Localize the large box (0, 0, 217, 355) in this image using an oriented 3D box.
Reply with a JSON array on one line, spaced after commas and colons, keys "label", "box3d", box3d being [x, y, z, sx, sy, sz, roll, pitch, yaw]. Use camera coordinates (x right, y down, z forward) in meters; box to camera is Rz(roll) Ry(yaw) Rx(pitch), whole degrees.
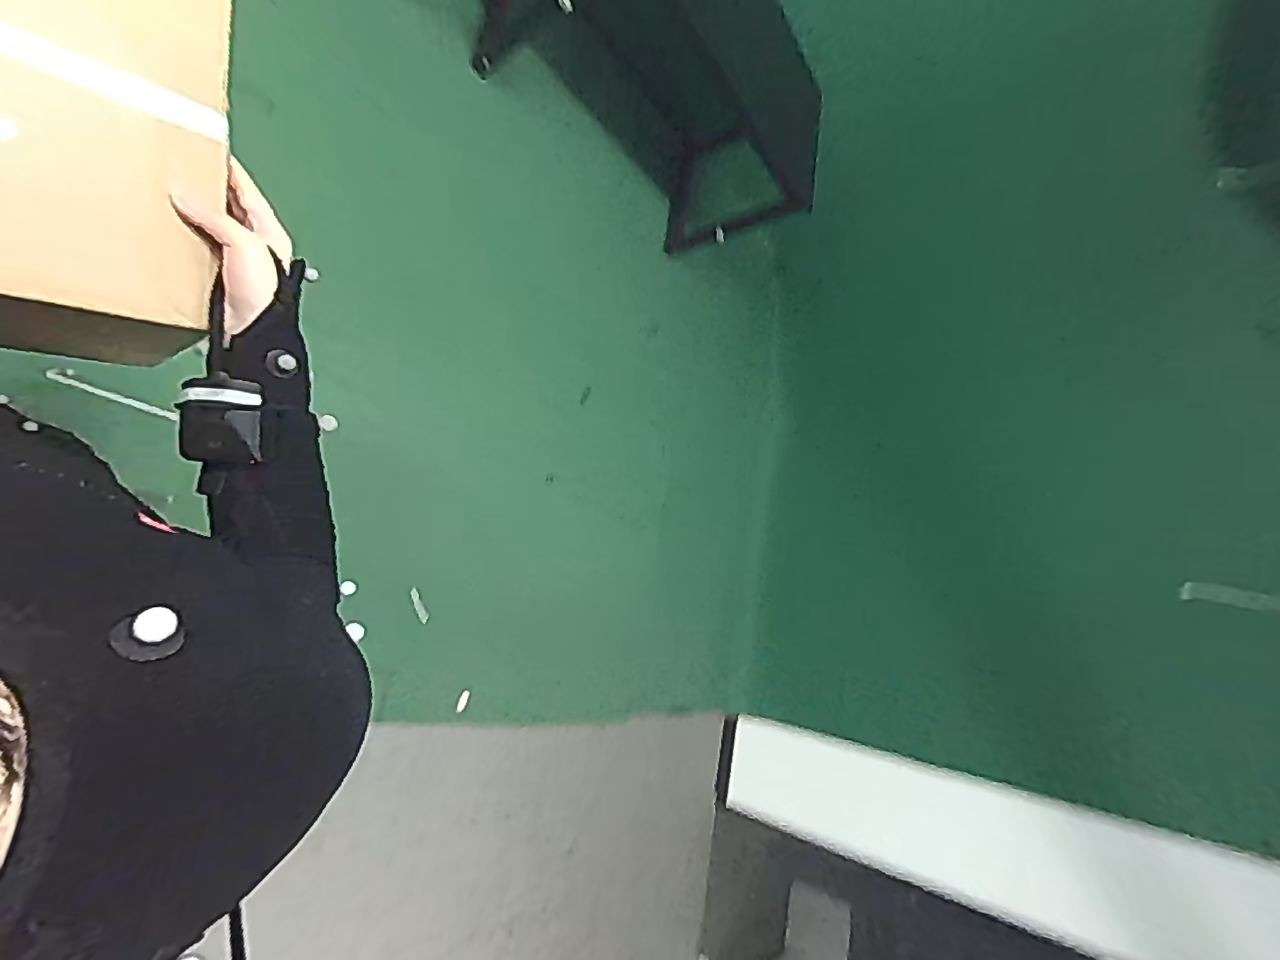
[{"label": "large box", "box3d": [-0.579, -0.284, 0.369, 0.408, 0.320, 0.320, 0, 93, -50]}]
